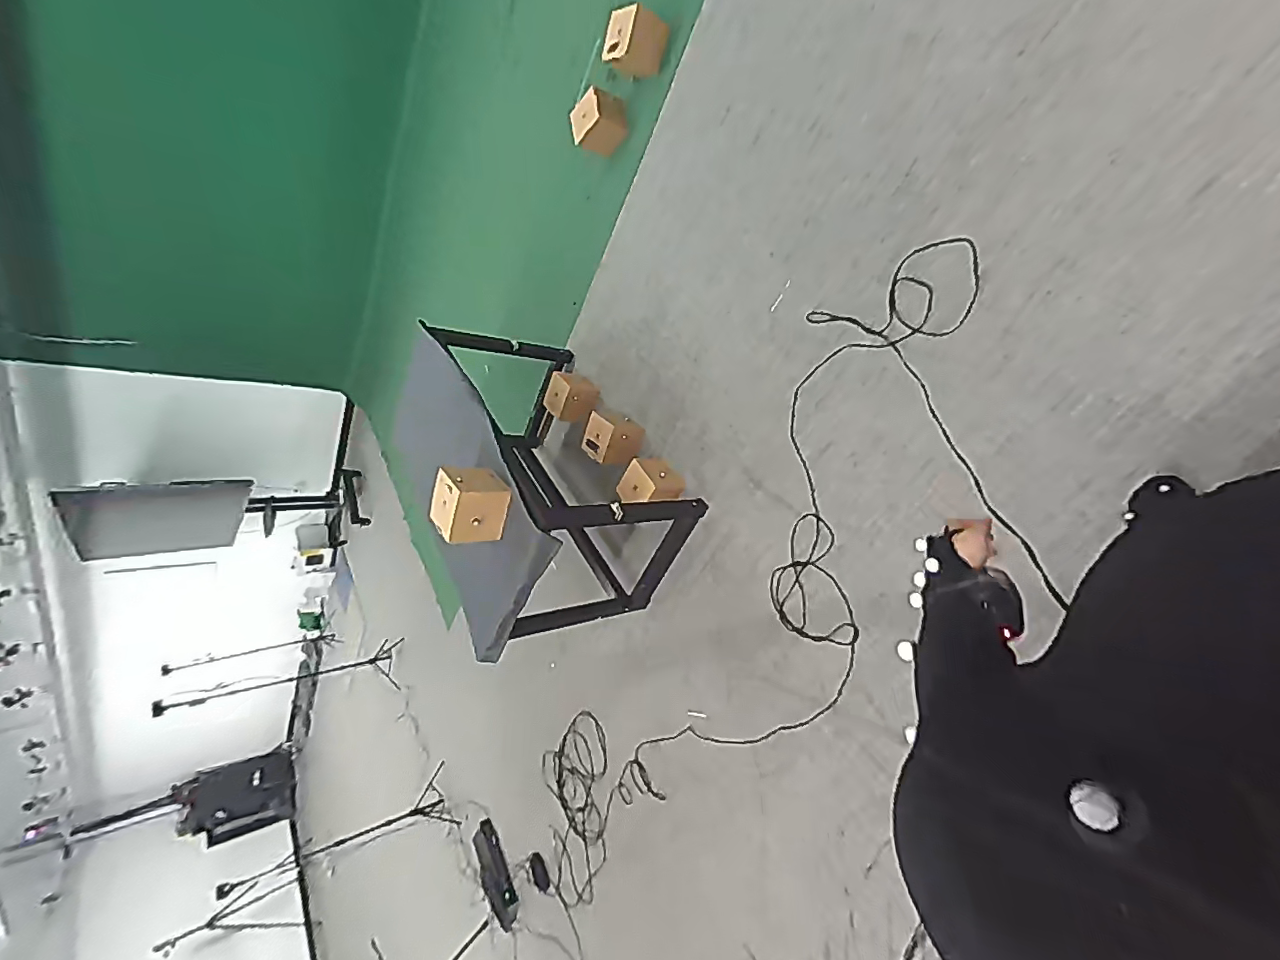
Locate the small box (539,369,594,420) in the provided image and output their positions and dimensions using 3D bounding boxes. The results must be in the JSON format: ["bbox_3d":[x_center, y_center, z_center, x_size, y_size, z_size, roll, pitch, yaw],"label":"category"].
[{"bbox_3d":[-0.339,-0.395,2.516,0.168,0.176,0.179,46,123,37],"label":"small box"}]

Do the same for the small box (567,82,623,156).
[{"bbox_3d":[-0.189,-1.548,2.328,0.179,0.176,0.168,-23,73,46],"label":"small box"}]

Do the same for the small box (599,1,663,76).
[{"bbox_3d":[-0.033,-1.745,2.152,0.168,0.176,0.179,33,114,42],"label":"small box"}]

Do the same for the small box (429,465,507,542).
[{"bbox_3d":[-0.524,0.068,1.650,0.168,0.176,0.179,37,117,41],"label":"small box"}]

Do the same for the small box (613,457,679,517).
[{"bbox_3d":[0.030,0.024,2.127,0.168,0.176,0.179,54,128,32],"label":"small box"}]
